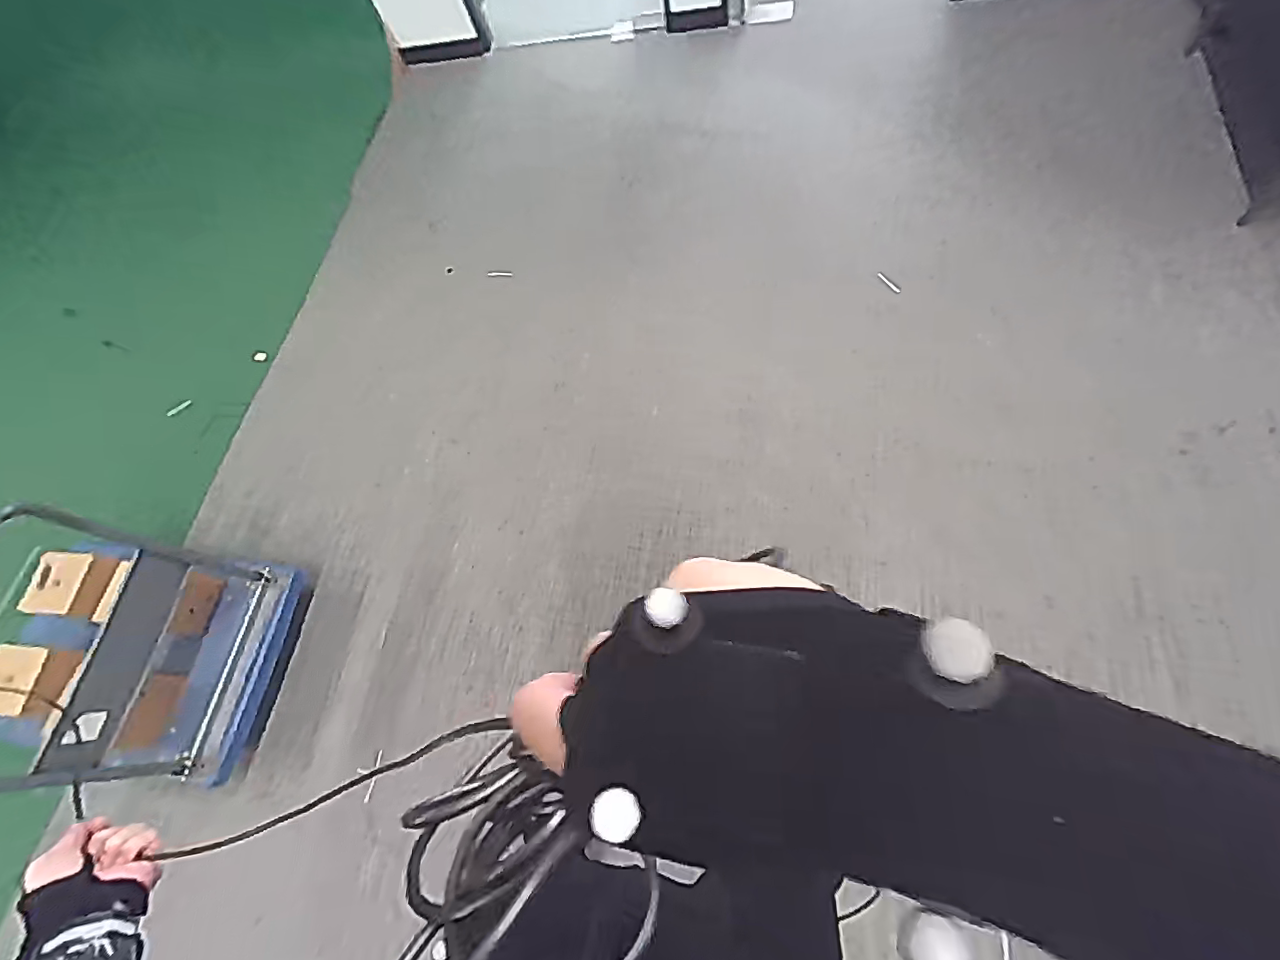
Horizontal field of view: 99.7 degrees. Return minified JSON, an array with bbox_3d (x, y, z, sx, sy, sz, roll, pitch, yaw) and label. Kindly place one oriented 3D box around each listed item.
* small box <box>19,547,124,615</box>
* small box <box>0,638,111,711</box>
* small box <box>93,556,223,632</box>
[{"bbox_3d":[-1.592,0.298,1.563,0.179,0.176,0.168,2,68,10],"label":"small box"},{"bbox_3d":[-1.614,0.531,1.468,0.179,0.176,0.168,1,67,11],"label":"small box"},{"bbox_3d":[-1.330,0.321,1.504,0.179,0.176,0.168,6,68,12],"label":"small box"}]
